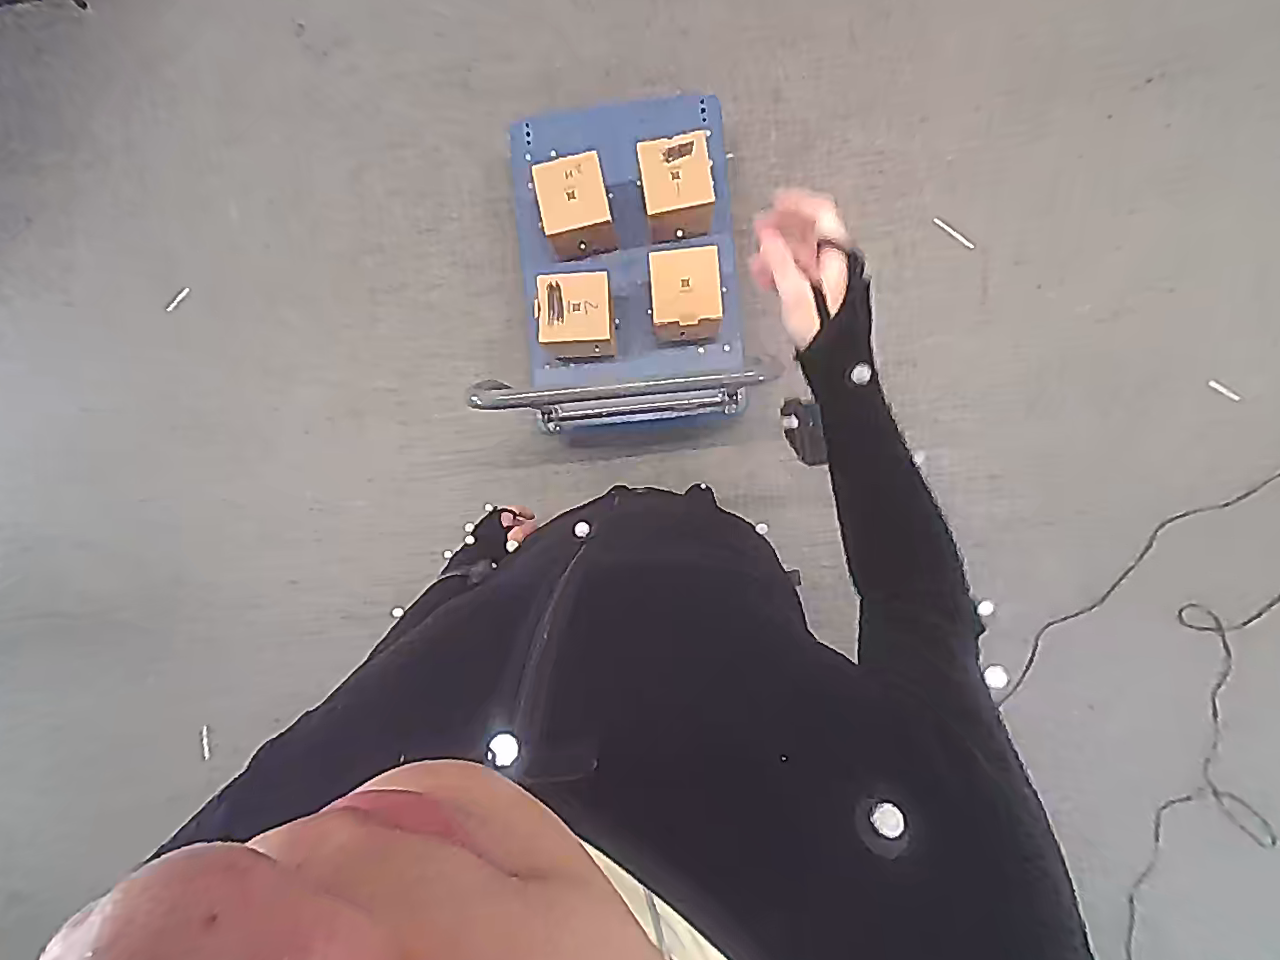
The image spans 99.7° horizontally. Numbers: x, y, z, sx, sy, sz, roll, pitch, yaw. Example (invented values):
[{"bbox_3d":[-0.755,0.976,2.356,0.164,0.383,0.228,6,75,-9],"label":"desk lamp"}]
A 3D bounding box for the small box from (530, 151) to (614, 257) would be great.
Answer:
[{"bbox_3d":[-0.166,-0.690,1.379,0.168,0.176,0.179,-12,90,2],"label":"small box"}]

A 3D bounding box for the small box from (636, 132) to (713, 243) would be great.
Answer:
[{"bbox_3d":[0.086,-0.731,1.365,0.168,0.176,0.179,-9,91,4],"label":"small box"}]

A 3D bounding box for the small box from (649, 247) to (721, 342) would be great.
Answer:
[{"bbox_3d":[0.110,-0.463,1.367,0.168,0.176,0.179,-5,90,3],"label":"small box"}]
